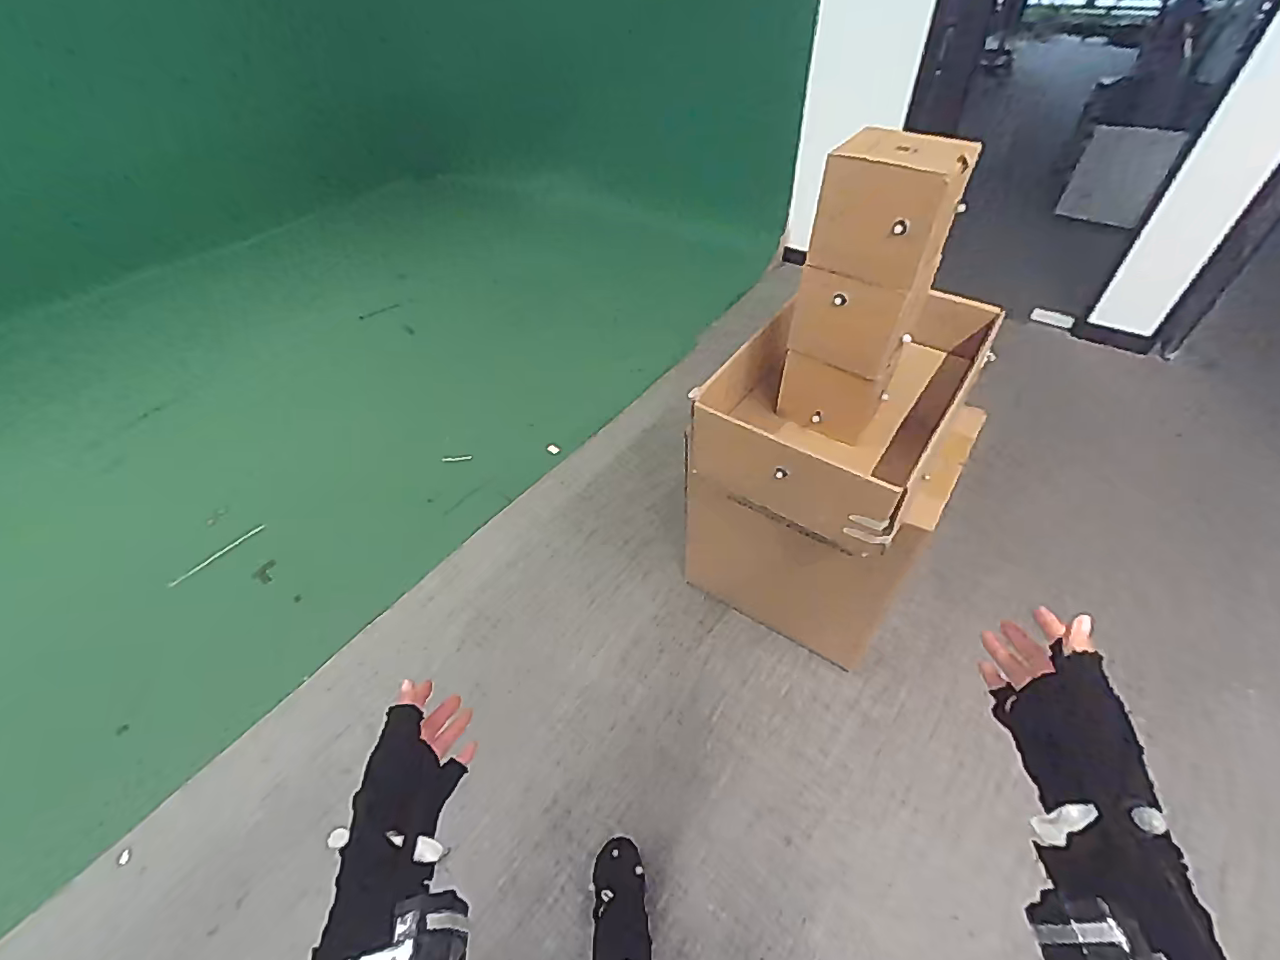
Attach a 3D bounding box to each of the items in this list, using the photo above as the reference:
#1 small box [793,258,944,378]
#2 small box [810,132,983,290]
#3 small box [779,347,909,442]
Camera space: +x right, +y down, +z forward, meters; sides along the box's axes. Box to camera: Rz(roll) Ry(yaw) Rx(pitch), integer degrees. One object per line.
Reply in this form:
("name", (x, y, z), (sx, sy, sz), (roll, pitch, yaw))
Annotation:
("small box", (0.397, -0.309, 0.966), (0.179, 0.176, 0.168), (31, 55, 26))
("small box", (0.392, -0.420, 0.848), (0.179, 0.176, 0.168), (26, 52, 26))
("small box", (0.404, -0.200, 1.089), (0.179, 0.176, 0.168), (28, 53, 24))
